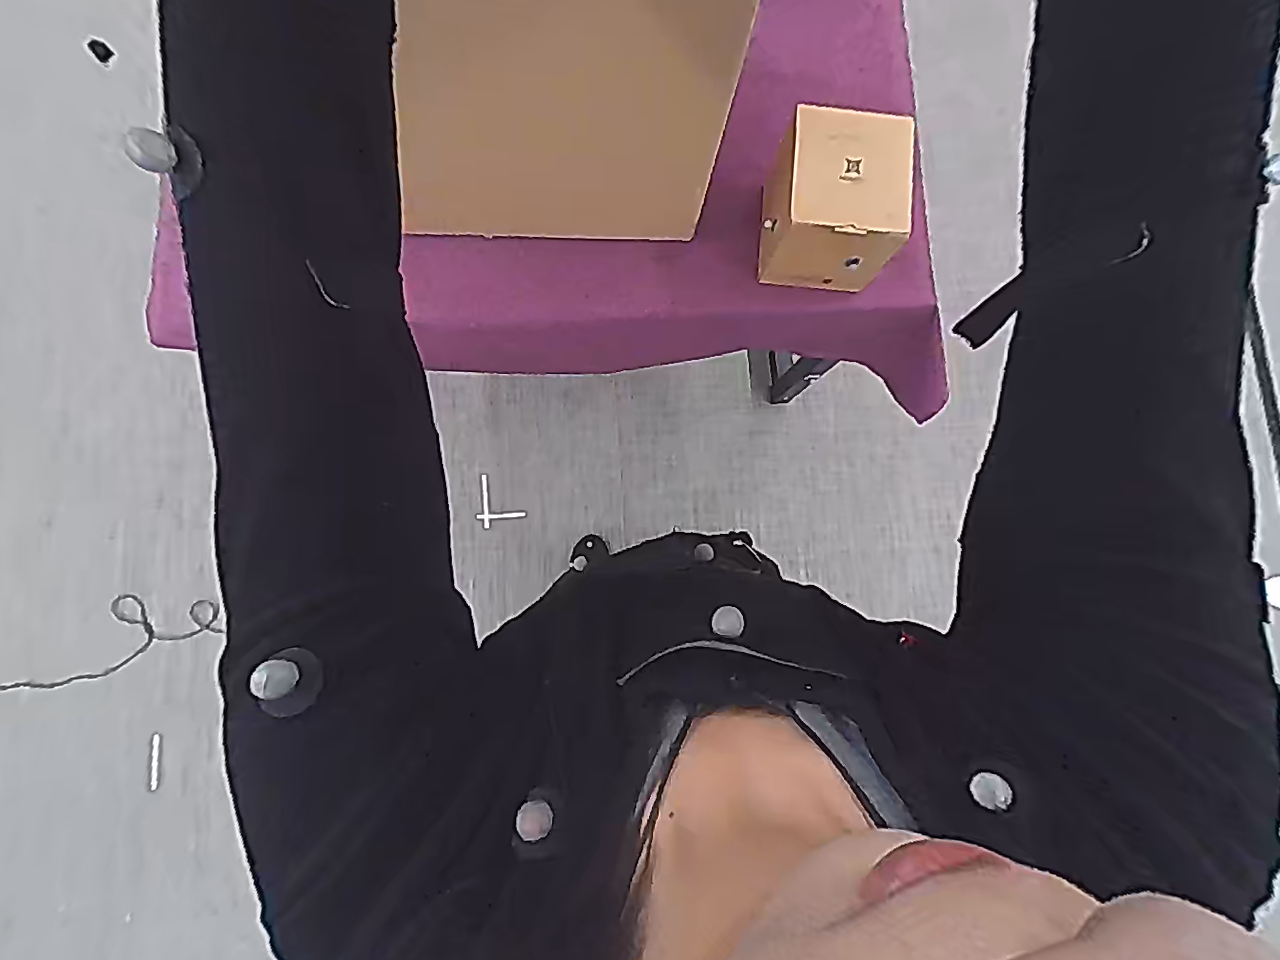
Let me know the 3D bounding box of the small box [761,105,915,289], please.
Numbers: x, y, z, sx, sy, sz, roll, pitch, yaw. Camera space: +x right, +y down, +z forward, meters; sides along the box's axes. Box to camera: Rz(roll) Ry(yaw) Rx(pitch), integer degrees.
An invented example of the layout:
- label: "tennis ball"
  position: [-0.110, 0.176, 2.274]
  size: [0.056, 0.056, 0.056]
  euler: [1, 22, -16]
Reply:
- label: "small box"
  position: [0.283, -0.406, 0.803]
  size: [0.168, 0.176, 0.179]
  euler: [5, 82, -3]
